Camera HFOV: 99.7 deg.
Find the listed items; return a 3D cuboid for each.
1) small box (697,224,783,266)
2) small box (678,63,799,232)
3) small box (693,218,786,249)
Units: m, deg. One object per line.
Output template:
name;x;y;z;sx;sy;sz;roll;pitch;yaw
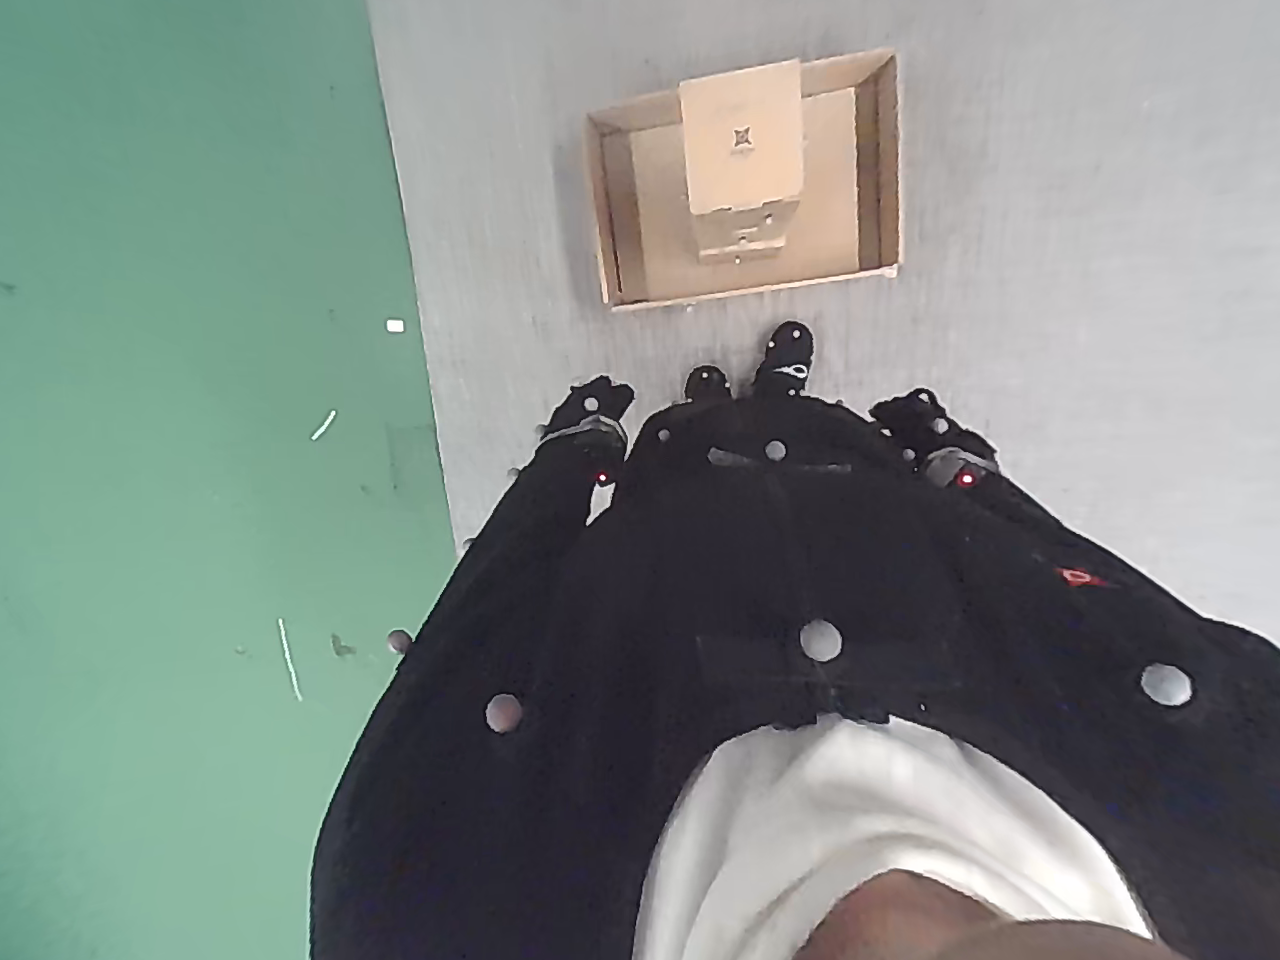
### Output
small box;0.213;-0.569;1.175;0.179;0.176;0.168;-1;103;10
small box;0.153;-0.499;0.845;0.168;0.176;0.179;-4;102;9
small box;0.180;-0.546;1.019;0.168;0.176;0.179;-6;103;11
